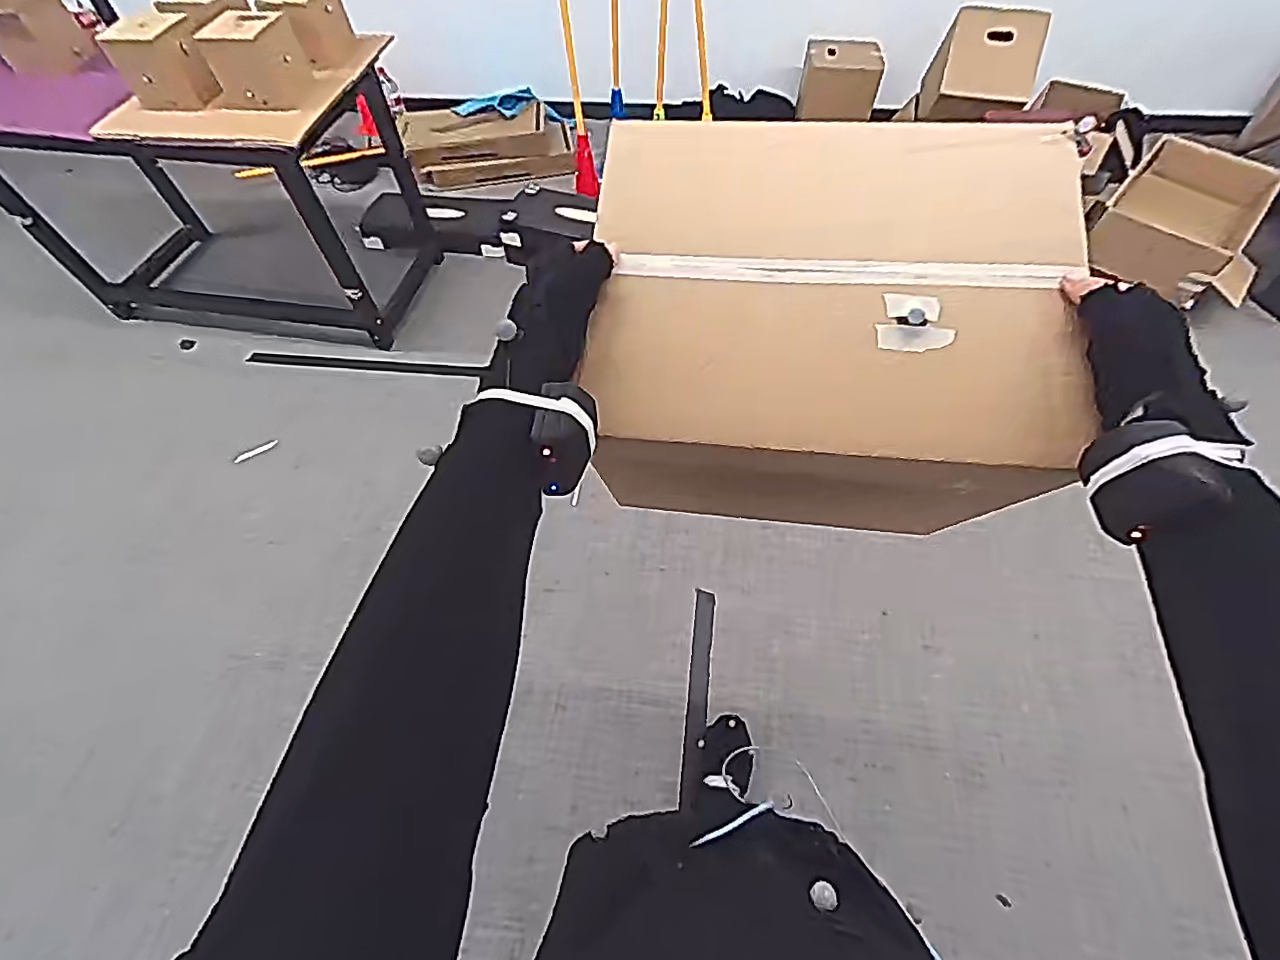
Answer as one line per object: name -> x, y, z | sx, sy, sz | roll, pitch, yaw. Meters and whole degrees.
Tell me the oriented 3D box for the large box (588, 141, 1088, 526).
large box -> 0.177, -0.134, 0.616 | 0.408, 0.320, 0.320 | 5, 78, 7
